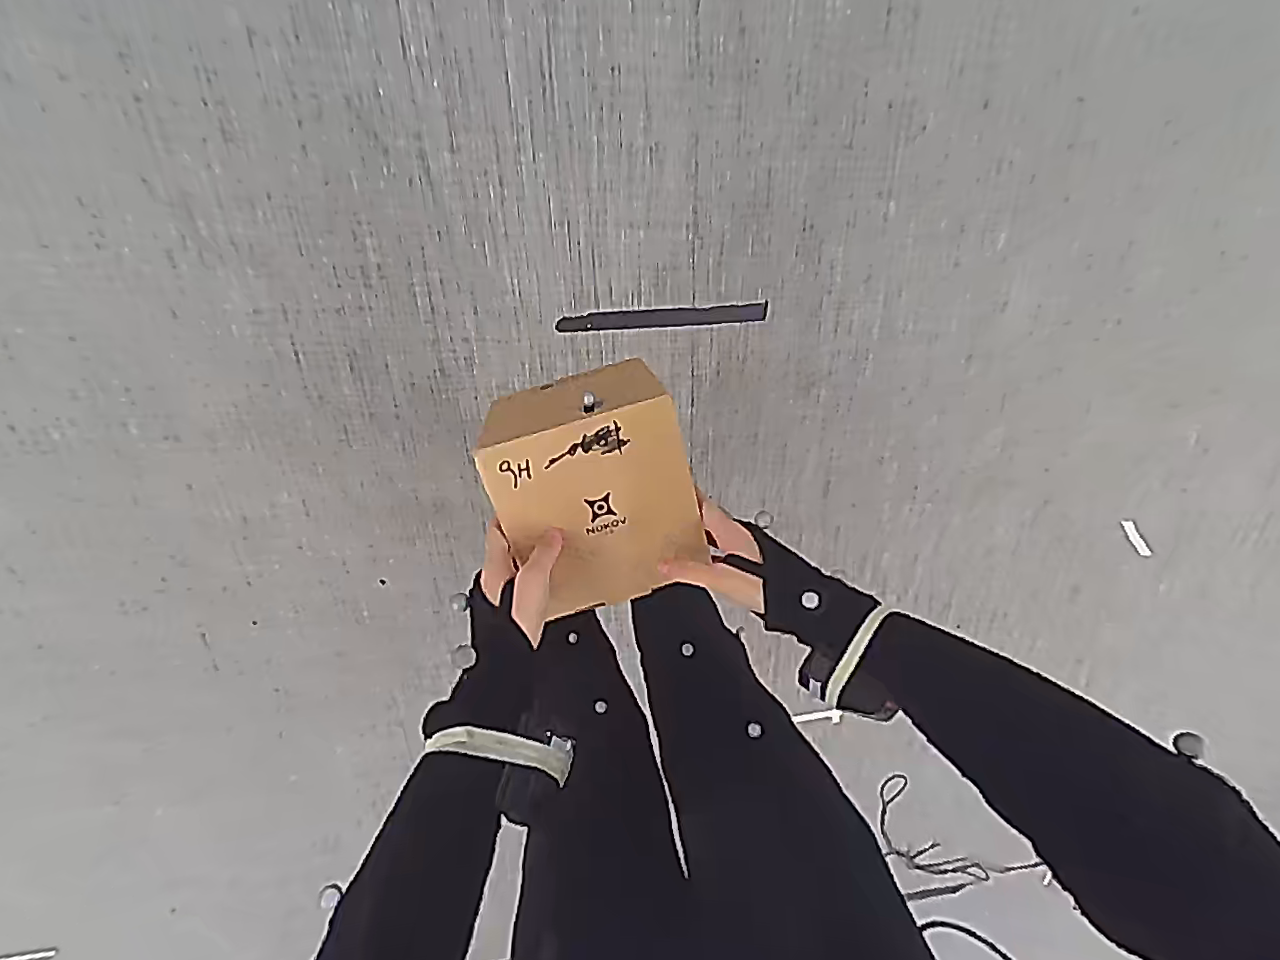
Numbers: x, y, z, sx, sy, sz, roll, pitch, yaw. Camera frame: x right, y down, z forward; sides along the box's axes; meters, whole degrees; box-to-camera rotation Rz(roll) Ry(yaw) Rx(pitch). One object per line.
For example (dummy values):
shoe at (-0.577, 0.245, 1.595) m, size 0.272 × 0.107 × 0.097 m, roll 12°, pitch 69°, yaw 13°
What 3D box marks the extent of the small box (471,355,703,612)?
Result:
small box at (-0.048, -0.006, 0.536) m, size 0.168 × 0.176 × 0.179 m, roll -16°, pitch 116°, yaw -2°
